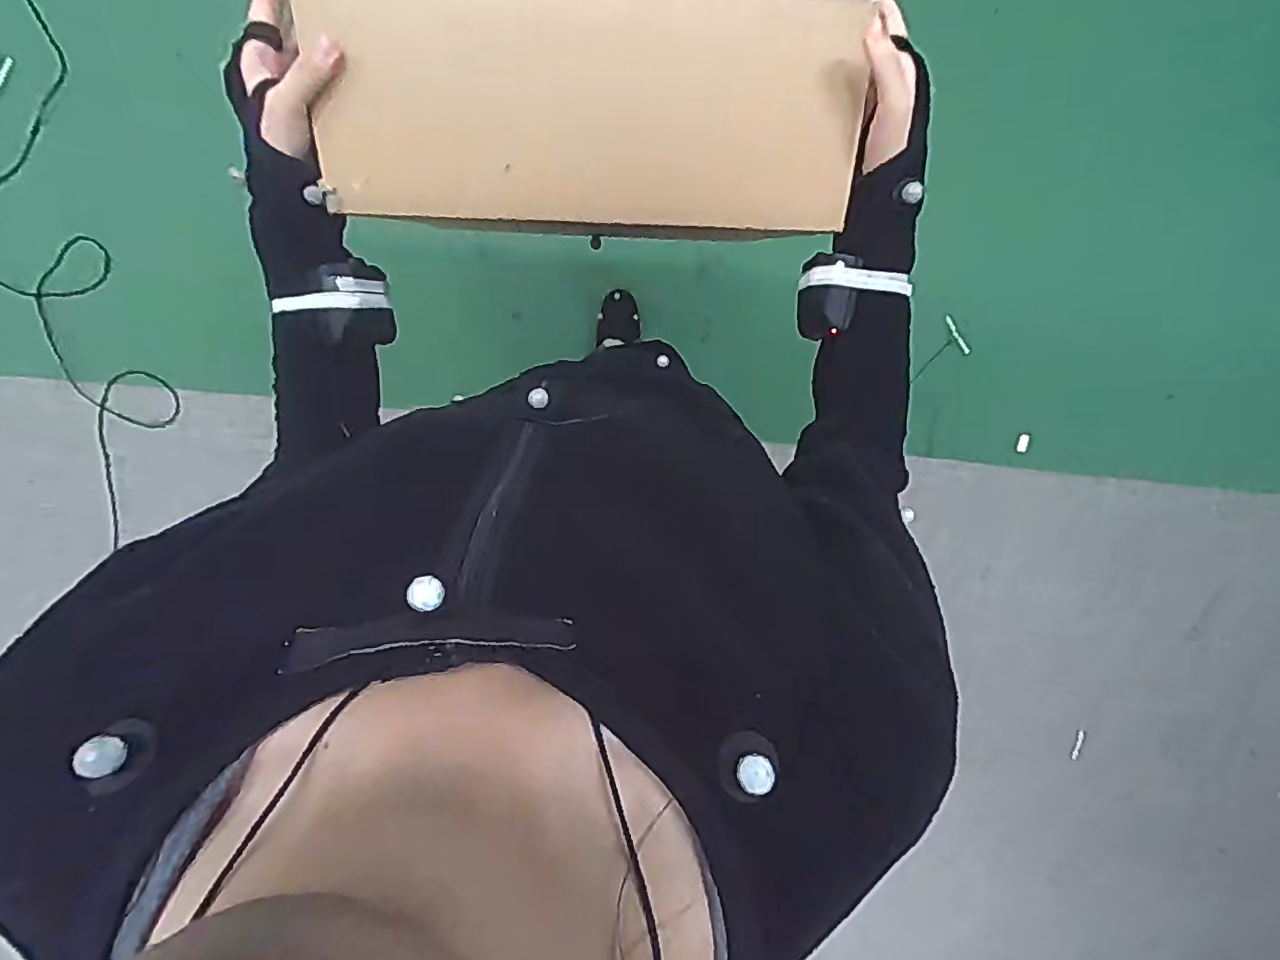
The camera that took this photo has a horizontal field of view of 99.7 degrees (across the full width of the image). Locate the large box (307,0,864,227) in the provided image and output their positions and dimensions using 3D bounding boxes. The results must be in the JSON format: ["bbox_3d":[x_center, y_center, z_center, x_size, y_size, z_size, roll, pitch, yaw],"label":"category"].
[{"bbox_3d":[-0.040,-0.417,0.514,0.408,0.320,0.320,1,114,-4],"label":"large box"}]
